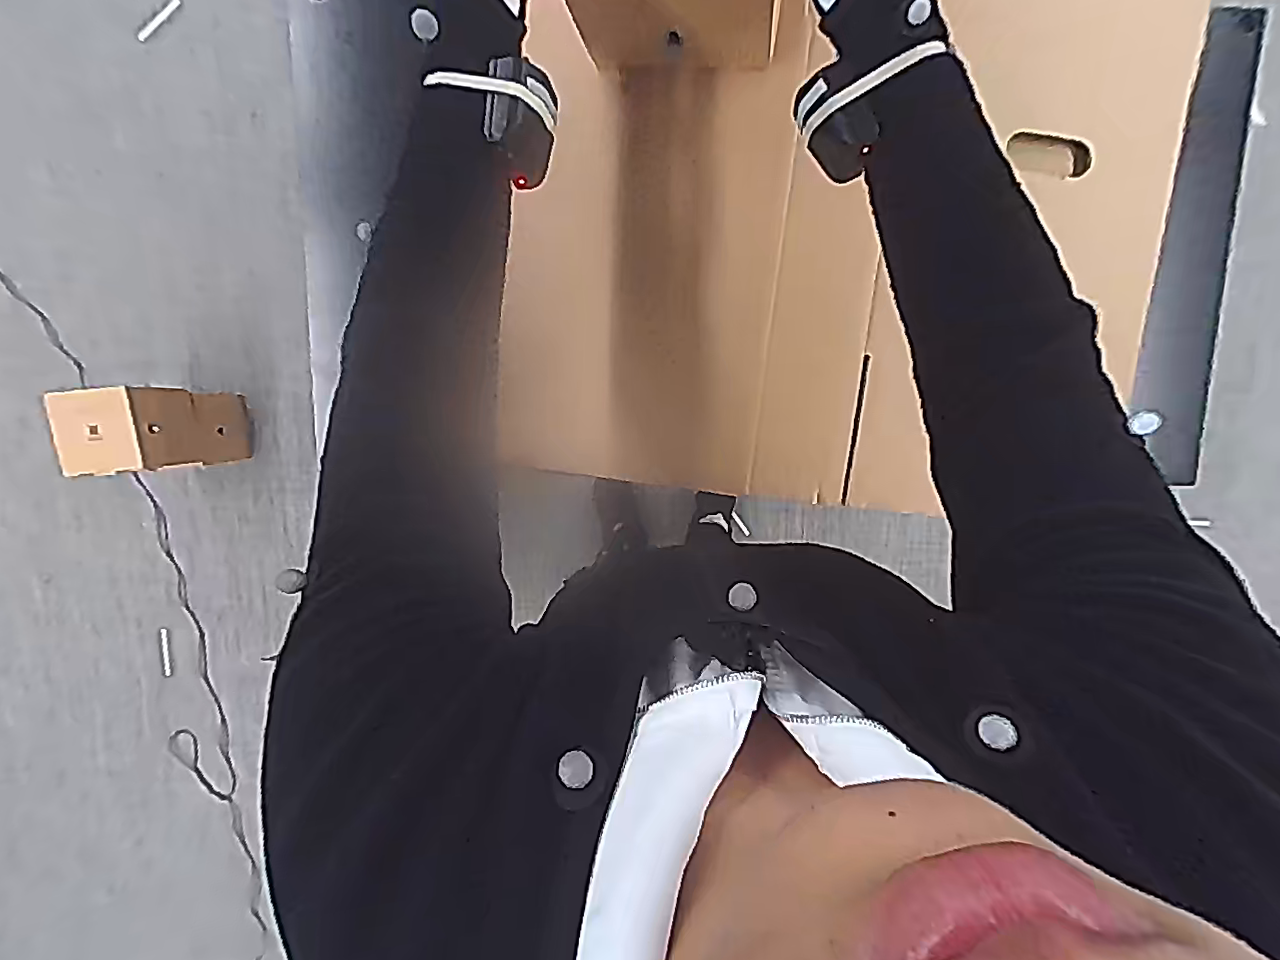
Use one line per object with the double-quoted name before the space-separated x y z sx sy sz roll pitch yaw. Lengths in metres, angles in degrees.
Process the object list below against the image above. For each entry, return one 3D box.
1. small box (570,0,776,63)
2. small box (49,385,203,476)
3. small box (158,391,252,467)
"small box" 0.032 -0.475 0.435 0.179 0.176 0.168 8 97 10
"small box" -1.112 -0.113 1.188 0.168 0.176 0.179 -6 97 -1
"small box" -1.116 -0.129 1.350 0.168 0.176 0.179 -3 99 -1
